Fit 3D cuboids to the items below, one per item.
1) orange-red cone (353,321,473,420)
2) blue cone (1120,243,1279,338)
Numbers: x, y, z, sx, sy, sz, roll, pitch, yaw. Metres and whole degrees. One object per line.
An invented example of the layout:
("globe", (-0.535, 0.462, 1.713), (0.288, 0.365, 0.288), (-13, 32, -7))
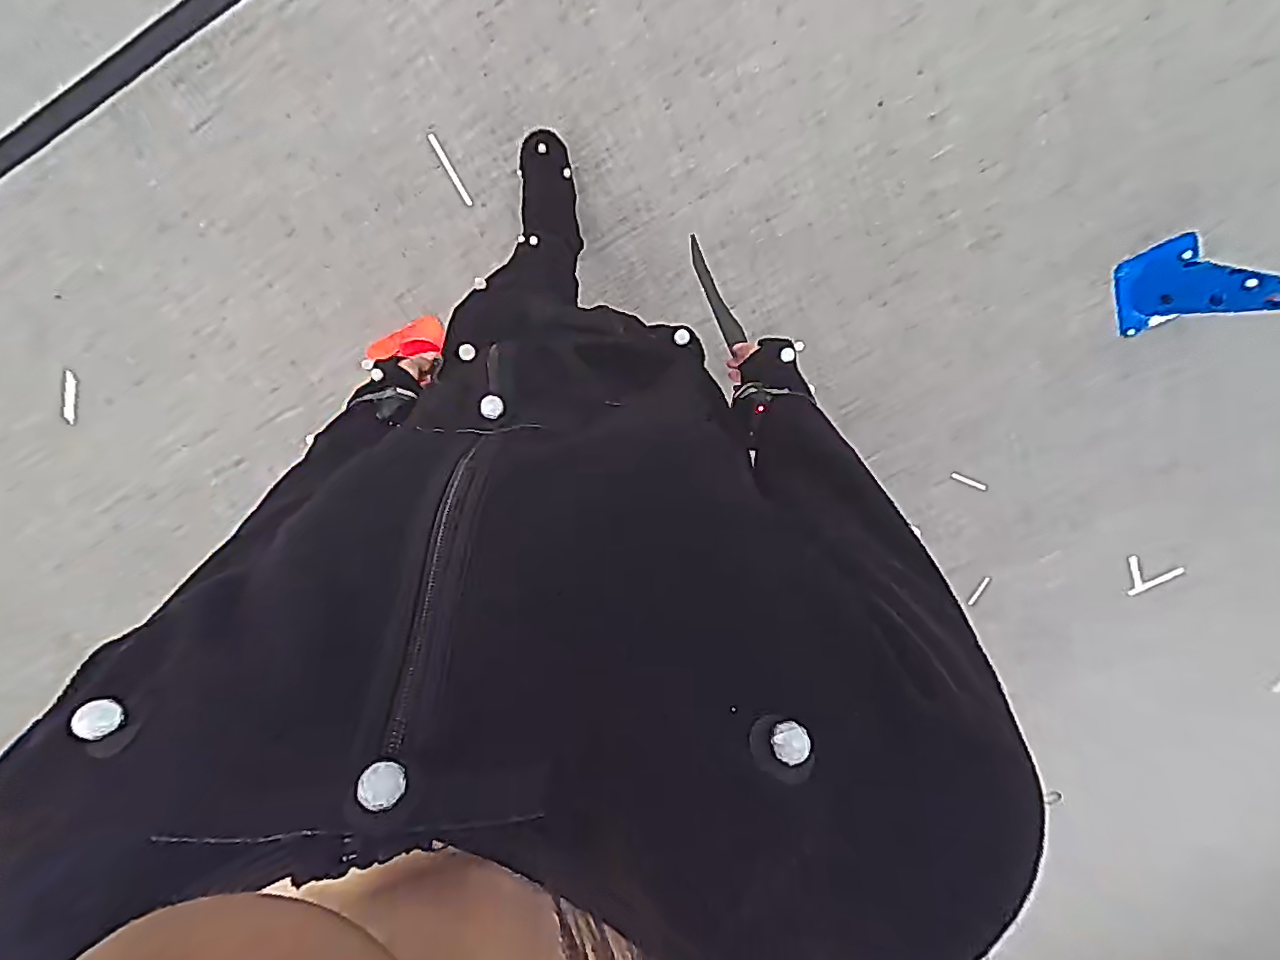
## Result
("orange-red cone", (-0.521, -0.196, 1.152), (0.198, 0.360, 0.199), (-23, 112, 6))
("blue cone", (1.312, -0.411, 1.206), (0.193, 0.380, 0.192), (-23, 113, 6))
